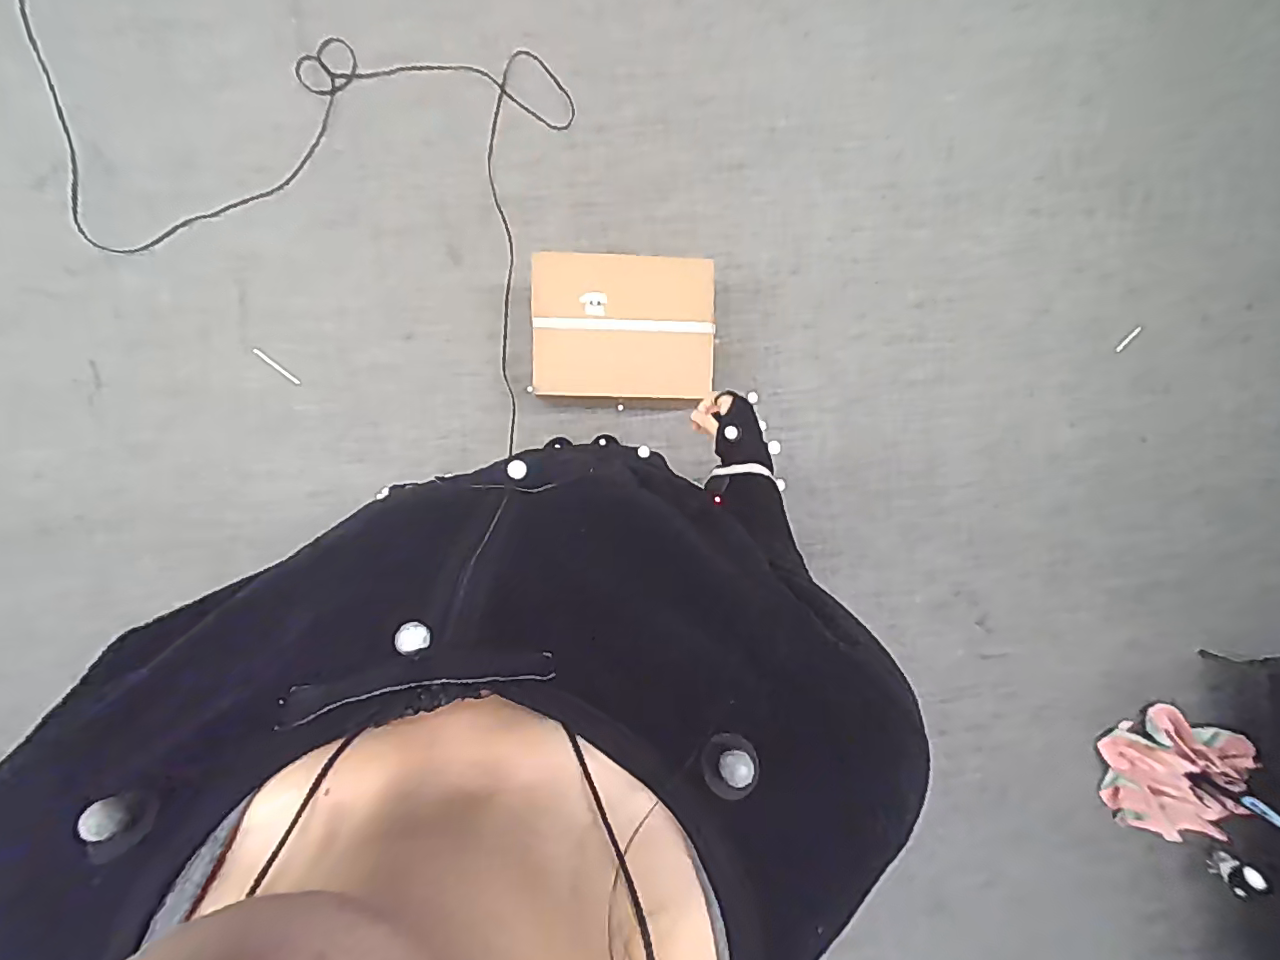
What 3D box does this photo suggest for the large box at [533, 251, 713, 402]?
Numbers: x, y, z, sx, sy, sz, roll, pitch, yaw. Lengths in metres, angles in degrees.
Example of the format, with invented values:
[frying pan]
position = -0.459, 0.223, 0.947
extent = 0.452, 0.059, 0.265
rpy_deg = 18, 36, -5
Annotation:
[large box]
position = -0.044, -0.359, 1.350
extent = 0.408, 0.320, 0.320
rpy_deg = 1, 93, -4
